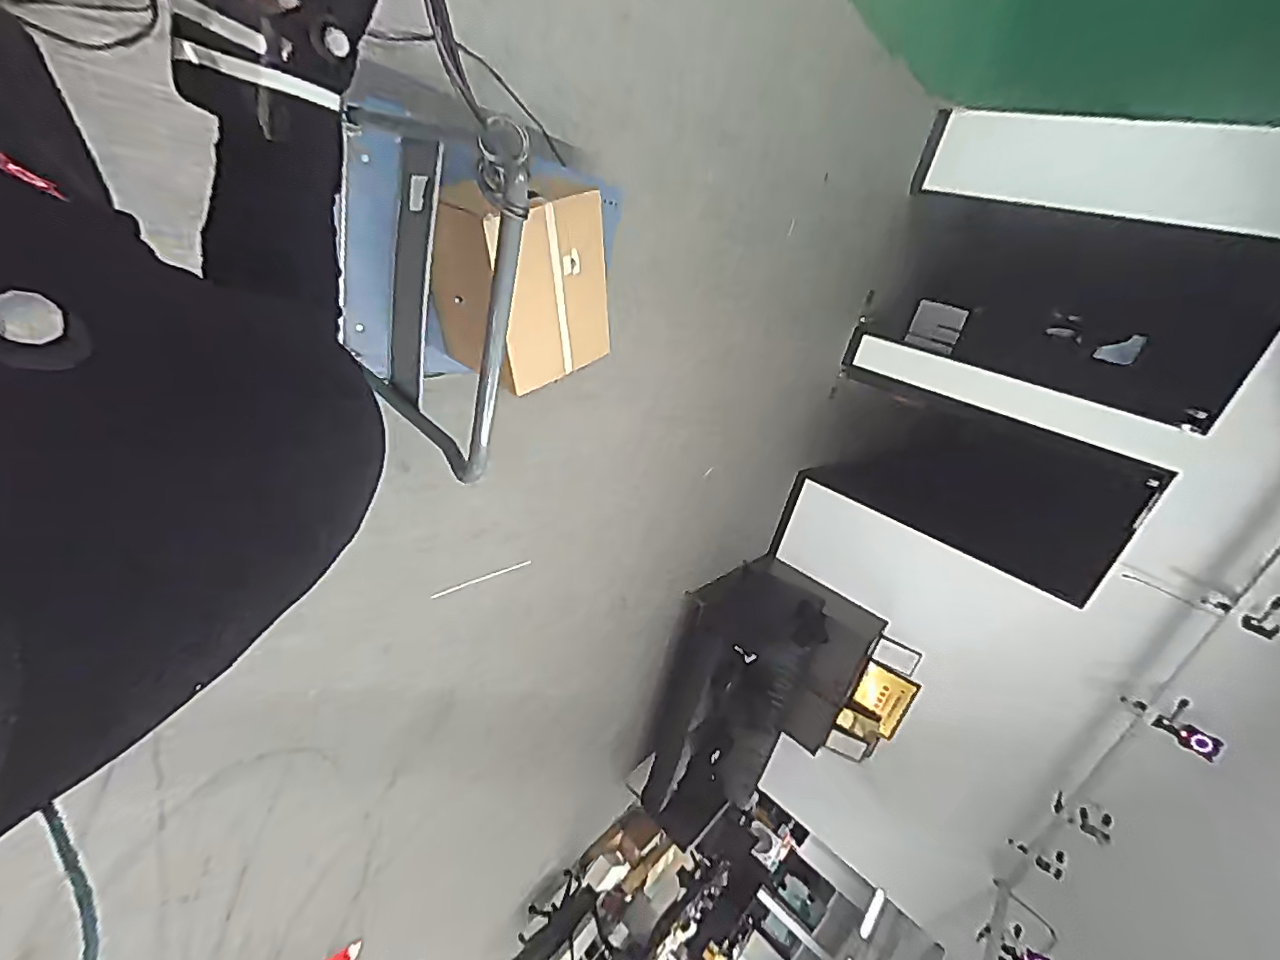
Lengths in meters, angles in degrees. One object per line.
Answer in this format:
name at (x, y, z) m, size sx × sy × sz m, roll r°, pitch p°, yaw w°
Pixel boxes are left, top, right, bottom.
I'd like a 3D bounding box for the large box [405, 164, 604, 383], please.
large box at (-0.316, -0.515, 1.335) m, size 0.320 × 0.320 × 0.408 m, roll -35°, pitch 140°, yaw -33°
